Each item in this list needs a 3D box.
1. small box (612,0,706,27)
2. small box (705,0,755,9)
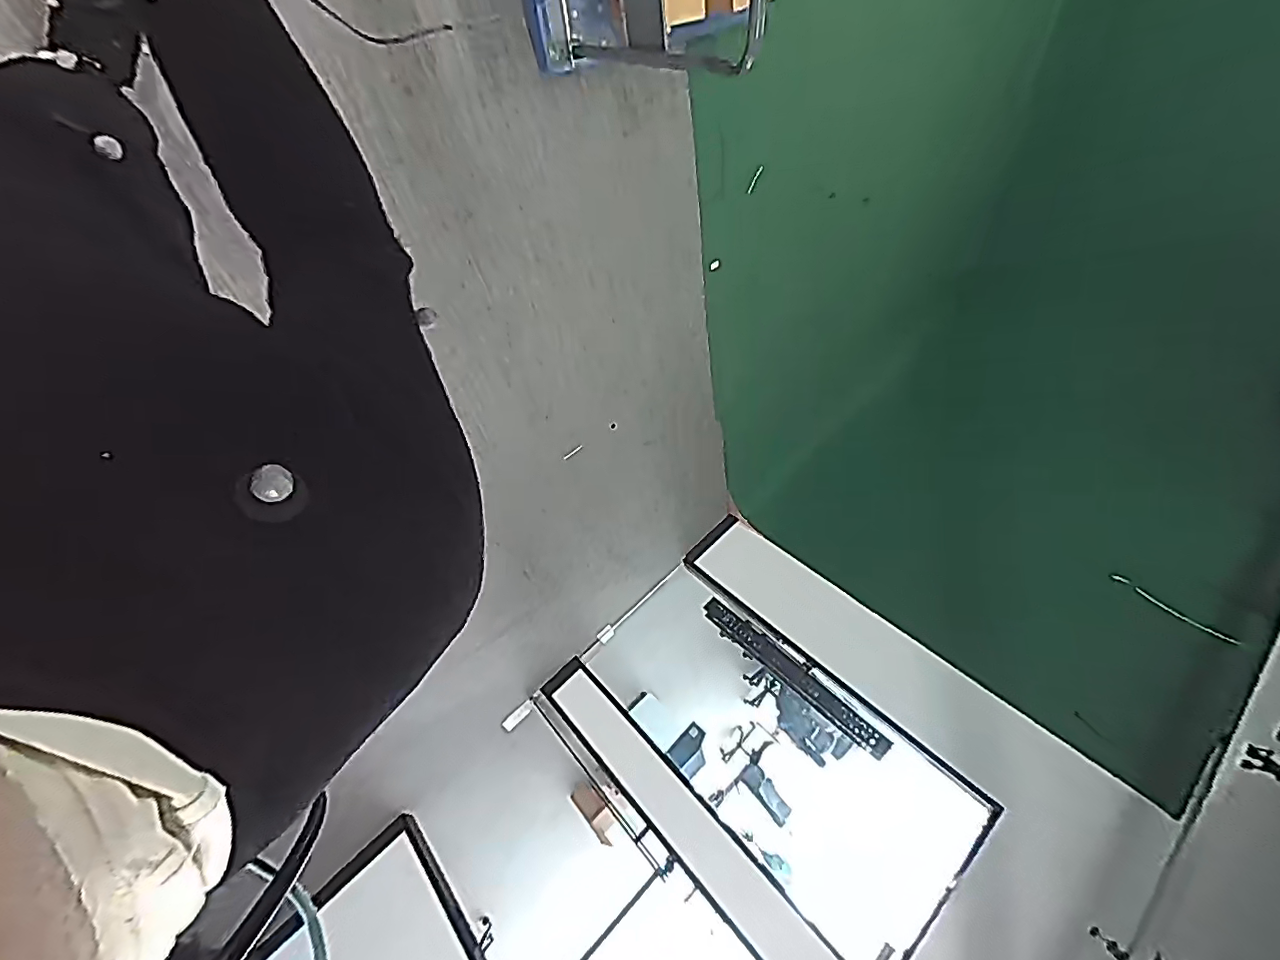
[{"bbox_3d":[0.044,-1.245,1.339,0.179,0.176,0.168,-34,140,-23],"label":"small box"},{"bbox_3d":[0.248,-1.388,1.445,0.179,0.176,0.168,-37,141,-20],"label":"small box"}]
